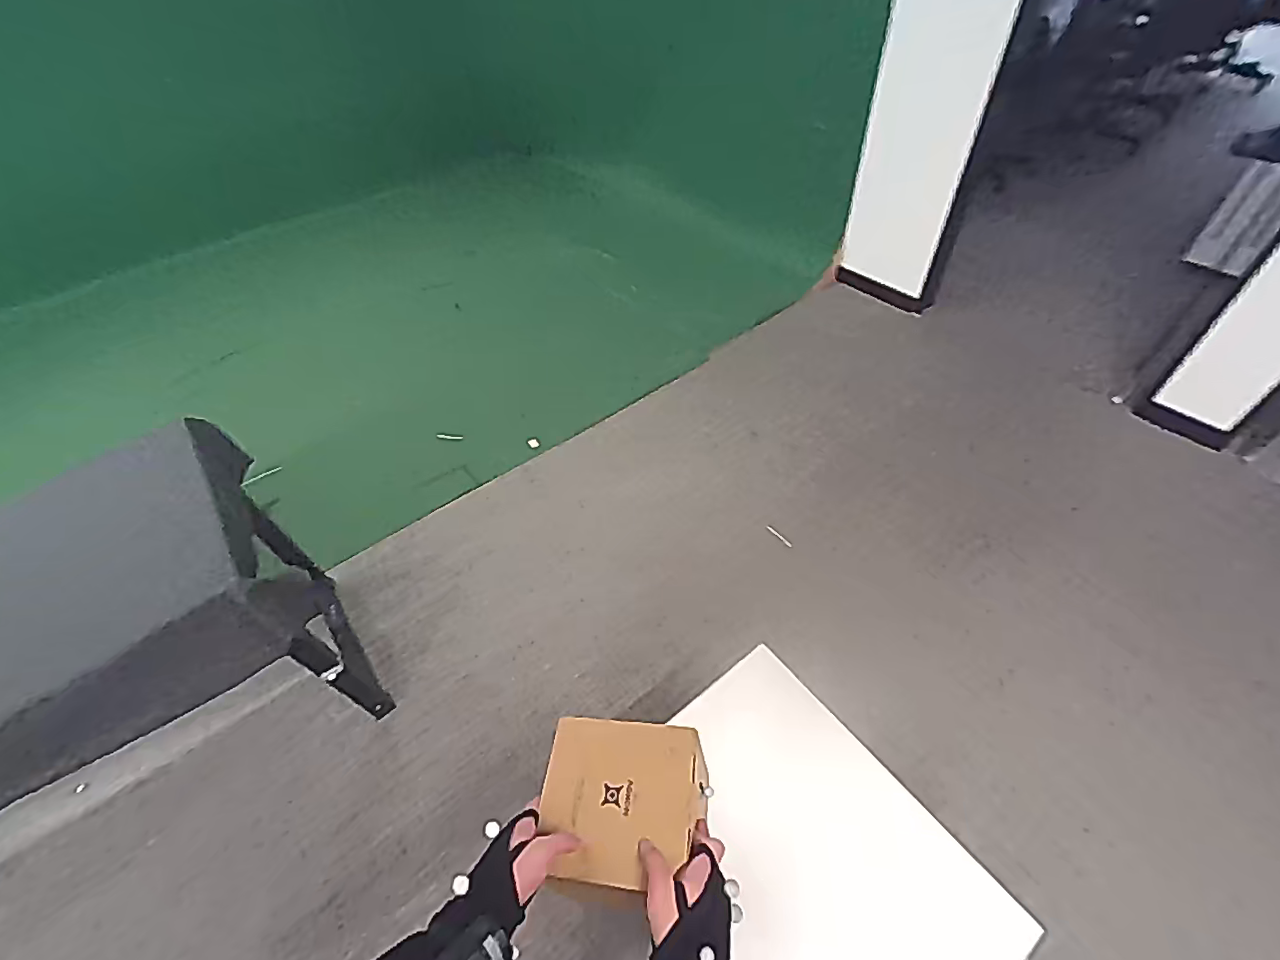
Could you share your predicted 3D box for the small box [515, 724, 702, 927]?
[{"bbox_3d":[-0.021,0.413,0.648,0.179,0.176,0.168,-4,43,13],"label":"small box"}]
